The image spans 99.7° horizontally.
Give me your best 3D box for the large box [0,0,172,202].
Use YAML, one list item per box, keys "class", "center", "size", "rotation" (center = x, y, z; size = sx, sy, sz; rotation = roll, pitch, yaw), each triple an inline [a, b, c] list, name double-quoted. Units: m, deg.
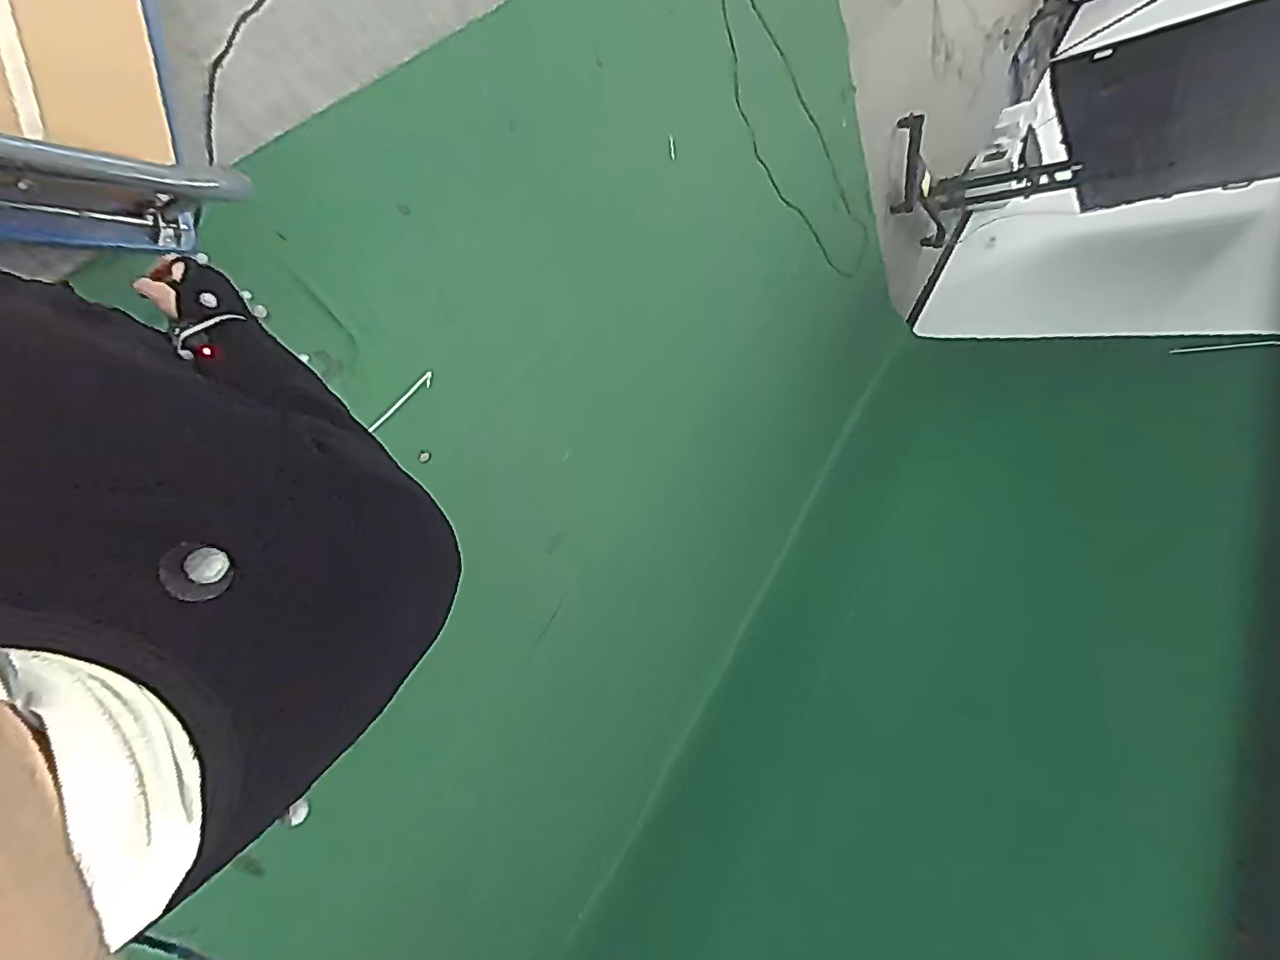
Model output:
- class: "large box"
  center: [-0.980, -0.686, 0.823]
  size: [0.320, 0.320, 0.408]
  rotation: [-17, 111, -45]
